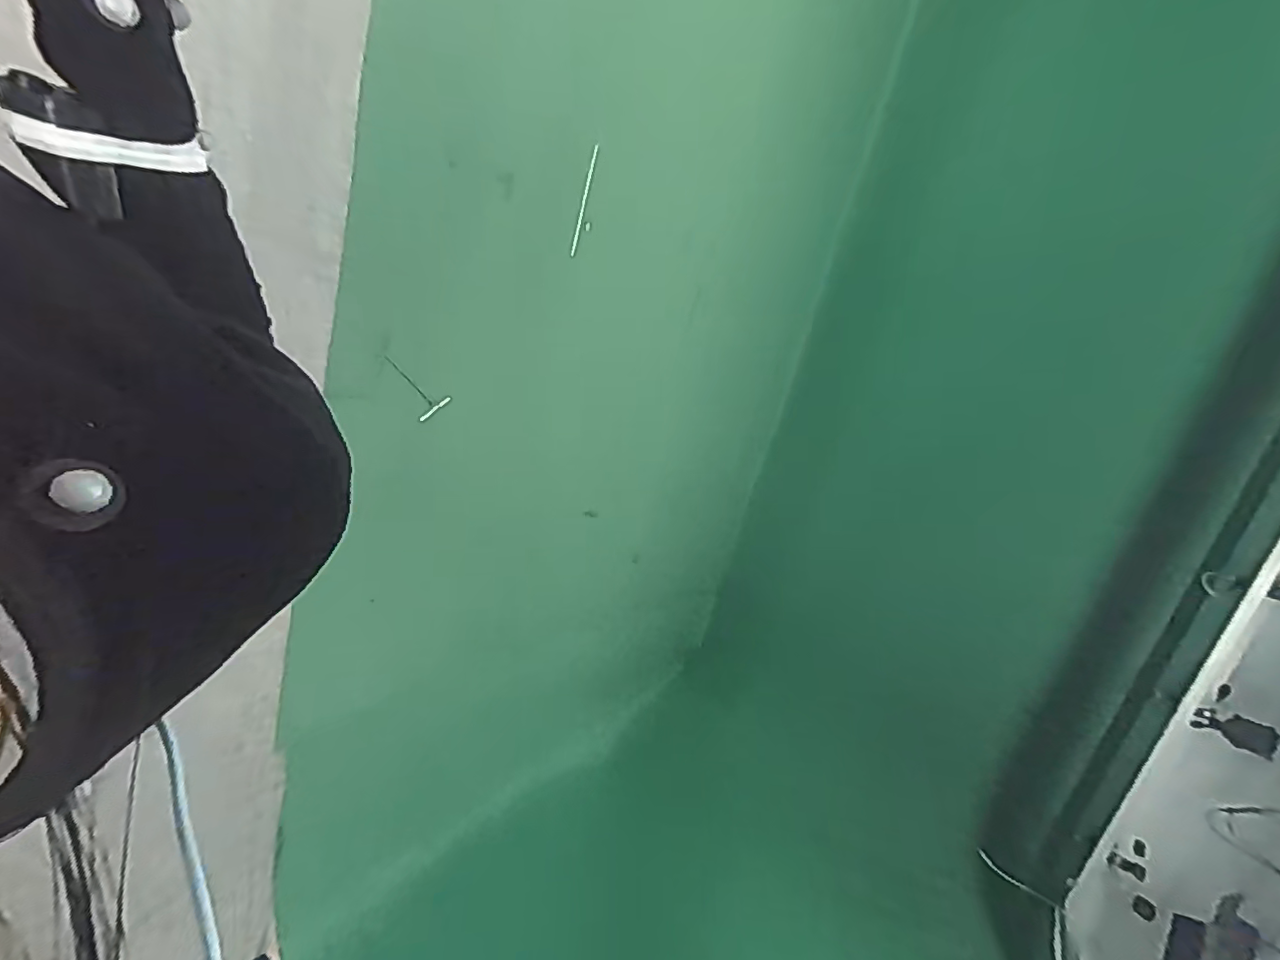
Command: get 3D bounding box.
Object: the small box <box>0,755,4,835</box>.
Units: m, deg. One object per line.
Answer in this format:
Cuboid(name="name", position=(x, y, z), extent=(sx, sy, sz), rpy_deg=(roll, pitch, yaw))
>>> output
Cuboid(name="small box", position=(-1.087, 0.456, 0.798), extent=(0.179, 0.176, 0.168), rpy_deg=(-7, 116, -54))
